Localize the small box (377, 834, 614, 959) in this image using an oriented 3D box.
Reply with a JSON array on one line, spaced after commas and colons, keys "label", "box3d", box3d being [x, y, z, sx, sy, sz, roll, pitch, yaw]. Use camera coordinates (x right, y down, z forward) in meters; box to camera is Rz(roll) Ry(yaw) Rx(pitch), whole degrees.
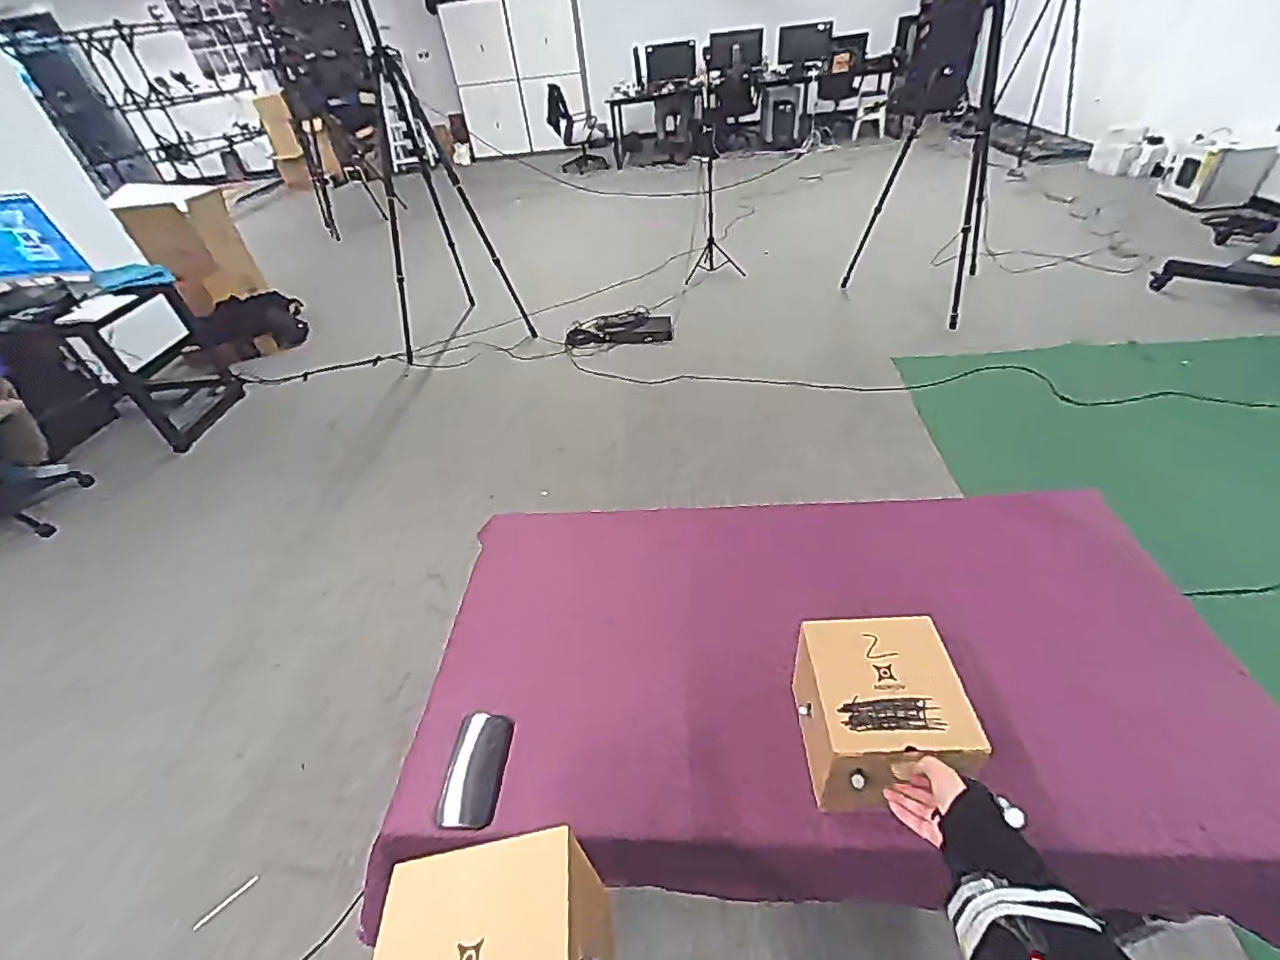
[{"label": "small box", "box3d": [-0.116, 0.447, 0.461, 0.168, 0.176, 0.179, -13, 34, 1]}]
